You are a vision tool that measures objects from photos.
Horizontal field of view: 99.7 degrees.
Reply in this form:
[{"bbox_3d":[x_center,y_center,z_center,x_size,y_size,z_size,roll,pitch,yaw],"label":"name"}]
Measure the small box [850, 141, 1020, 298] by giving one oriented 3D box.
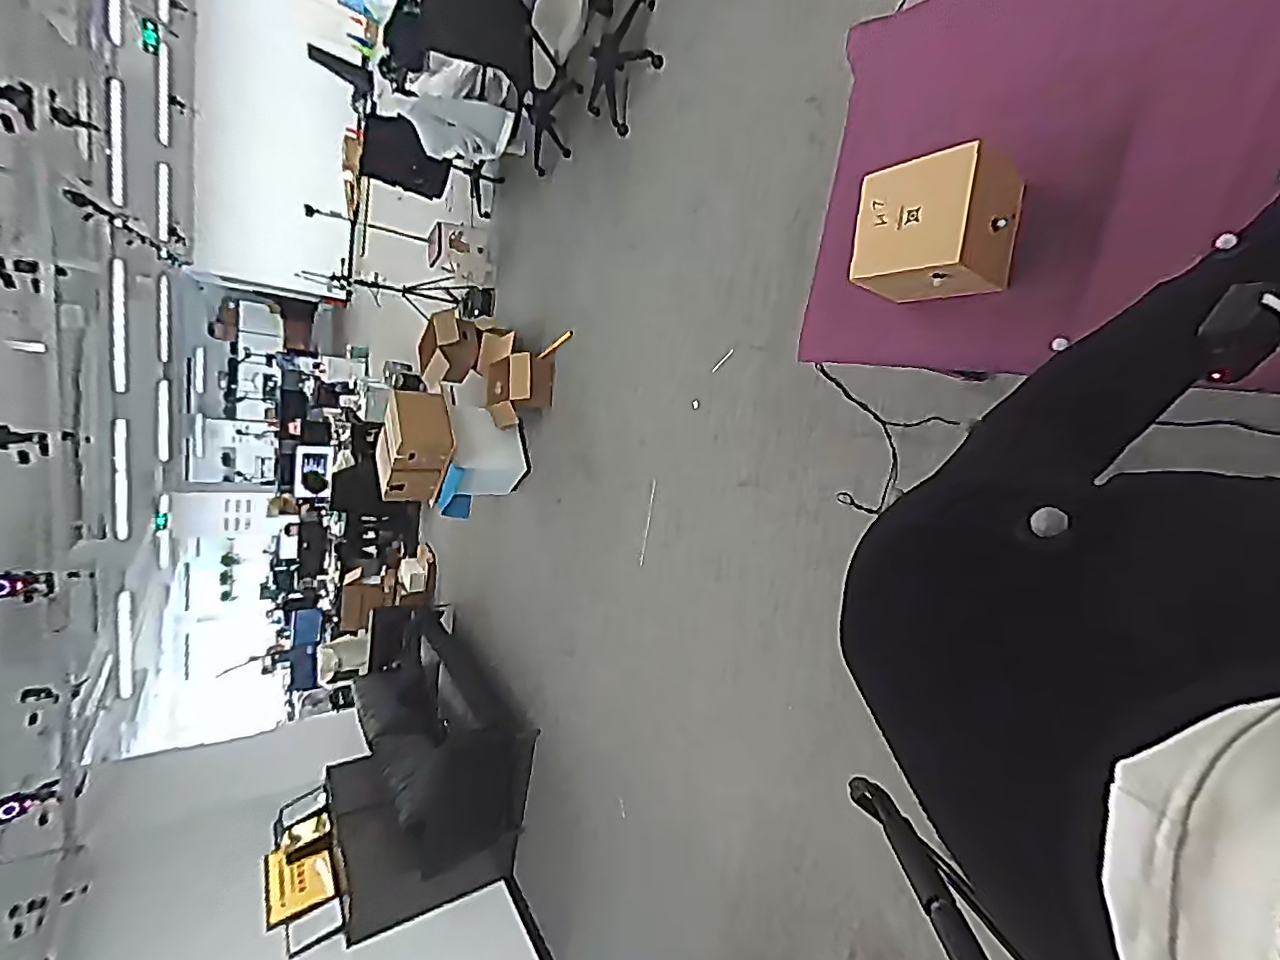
[{"bbox_3d":[0.468,-0.396,0.858,0.179,0.176,0.168,15,101,53],"label":"small box"}]
